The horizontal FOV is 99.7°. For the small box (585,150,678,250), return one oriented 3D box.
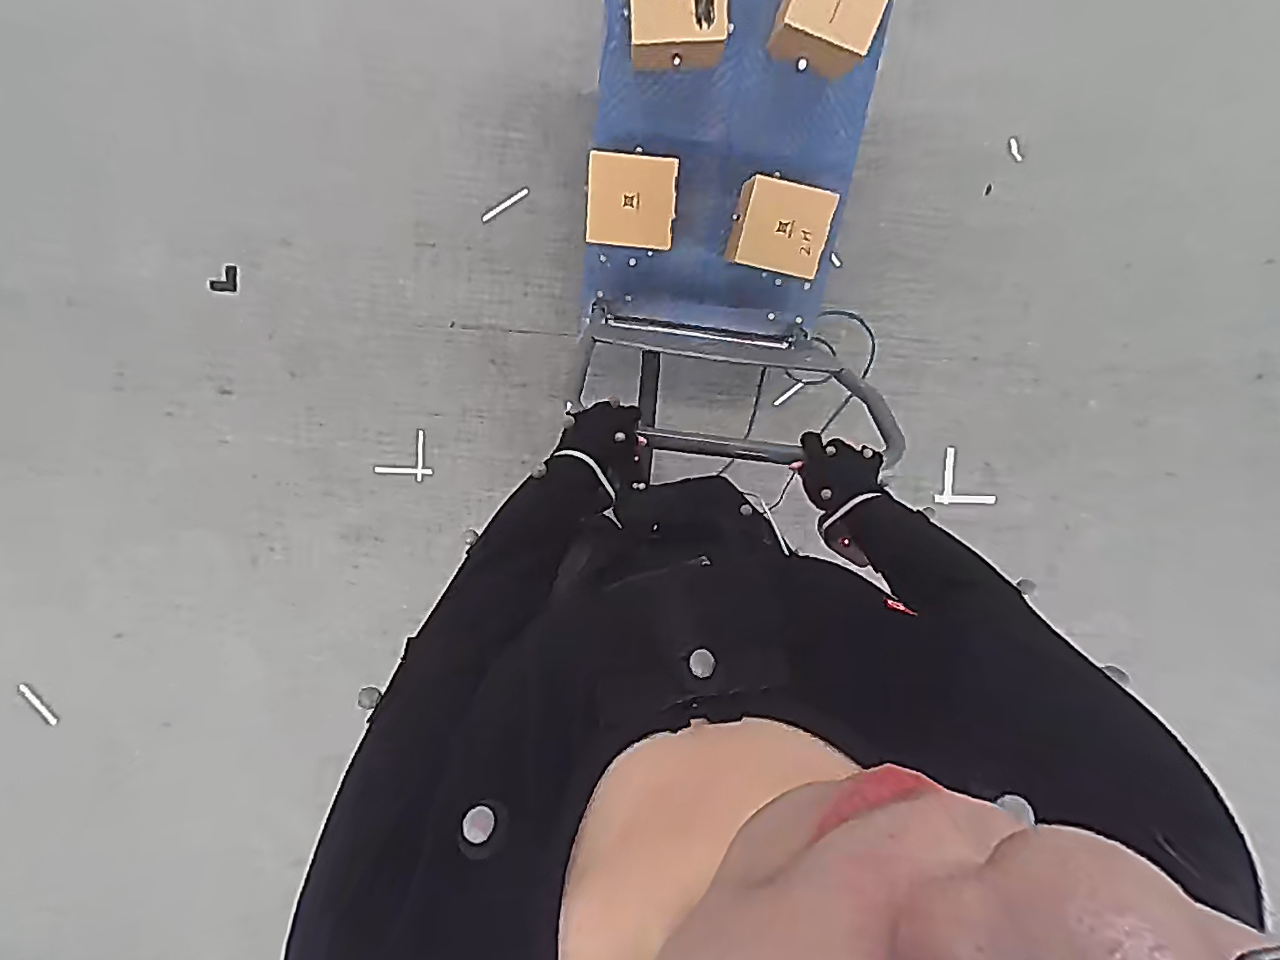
[{"bbox_3d":[-0.020,-0.584,1.148,0.179,0.176,0.168,3,112,-3],"label":"small box"}]

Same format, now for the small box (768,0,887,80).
[{"bbox_3d":[0.358,-0.901,1.017,0.168,0.176,0.179,17,112,-7],"label":"small box"}]

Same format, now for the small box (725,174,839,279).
[{"bbox_3d":[0.294,-0.539,1.167,0.179,0.176,0.168,11,112,-5],"label":"small box"}]
